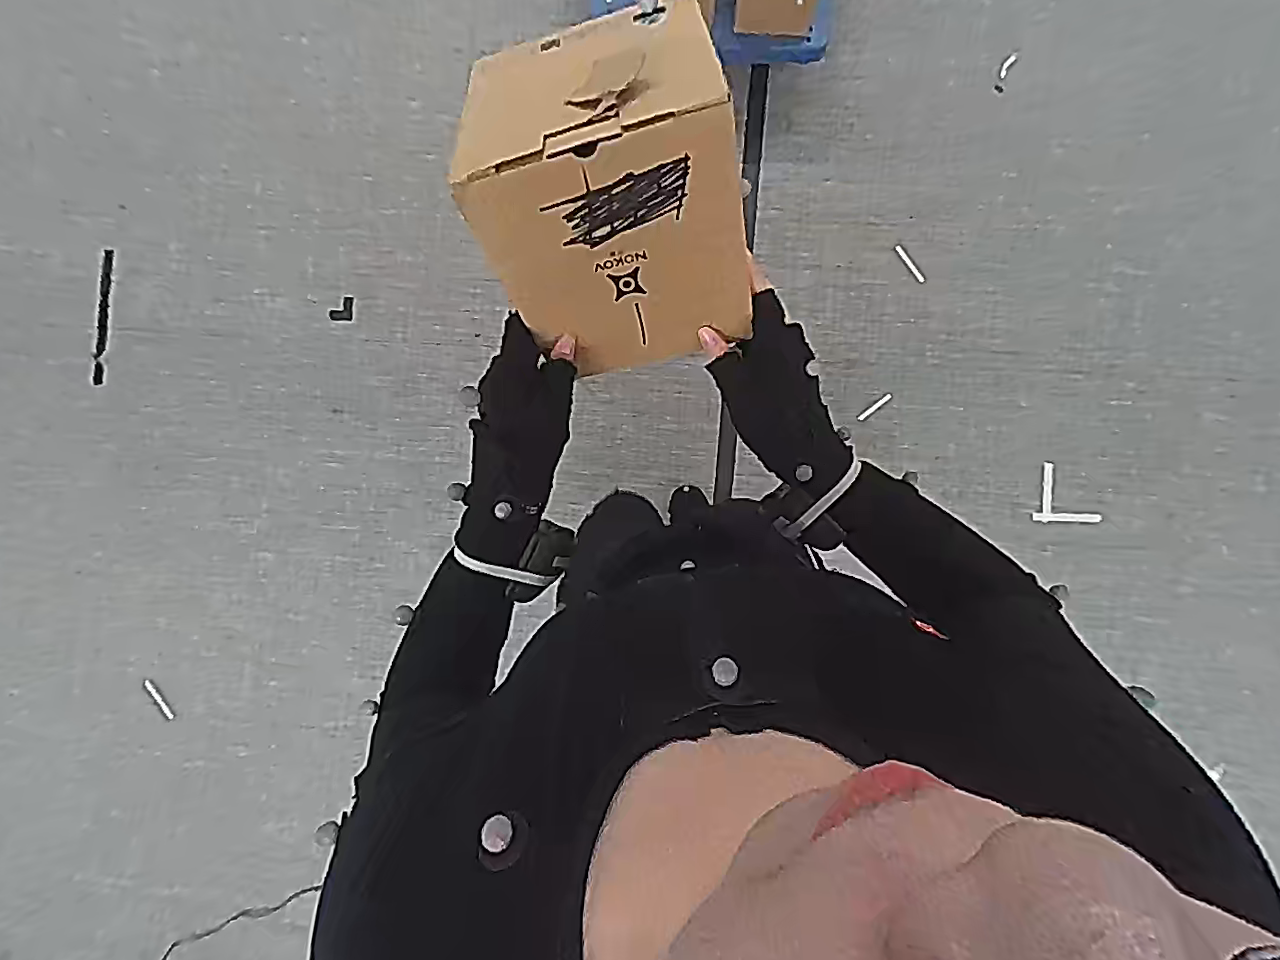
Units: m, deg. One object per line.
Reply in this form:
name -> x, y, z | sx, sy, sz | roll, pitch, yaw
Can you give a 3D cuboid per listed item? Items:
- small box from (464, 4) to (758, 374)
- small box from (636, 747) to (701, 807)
small box -> -0.012, -0.215, 0.409 | 0.168, 0.179, 0.176 | -11, 57, 10
small box -> 0.075, 0.834, 1.437 | 0.168, 0.176, 0.179 | -1, 91, 3
